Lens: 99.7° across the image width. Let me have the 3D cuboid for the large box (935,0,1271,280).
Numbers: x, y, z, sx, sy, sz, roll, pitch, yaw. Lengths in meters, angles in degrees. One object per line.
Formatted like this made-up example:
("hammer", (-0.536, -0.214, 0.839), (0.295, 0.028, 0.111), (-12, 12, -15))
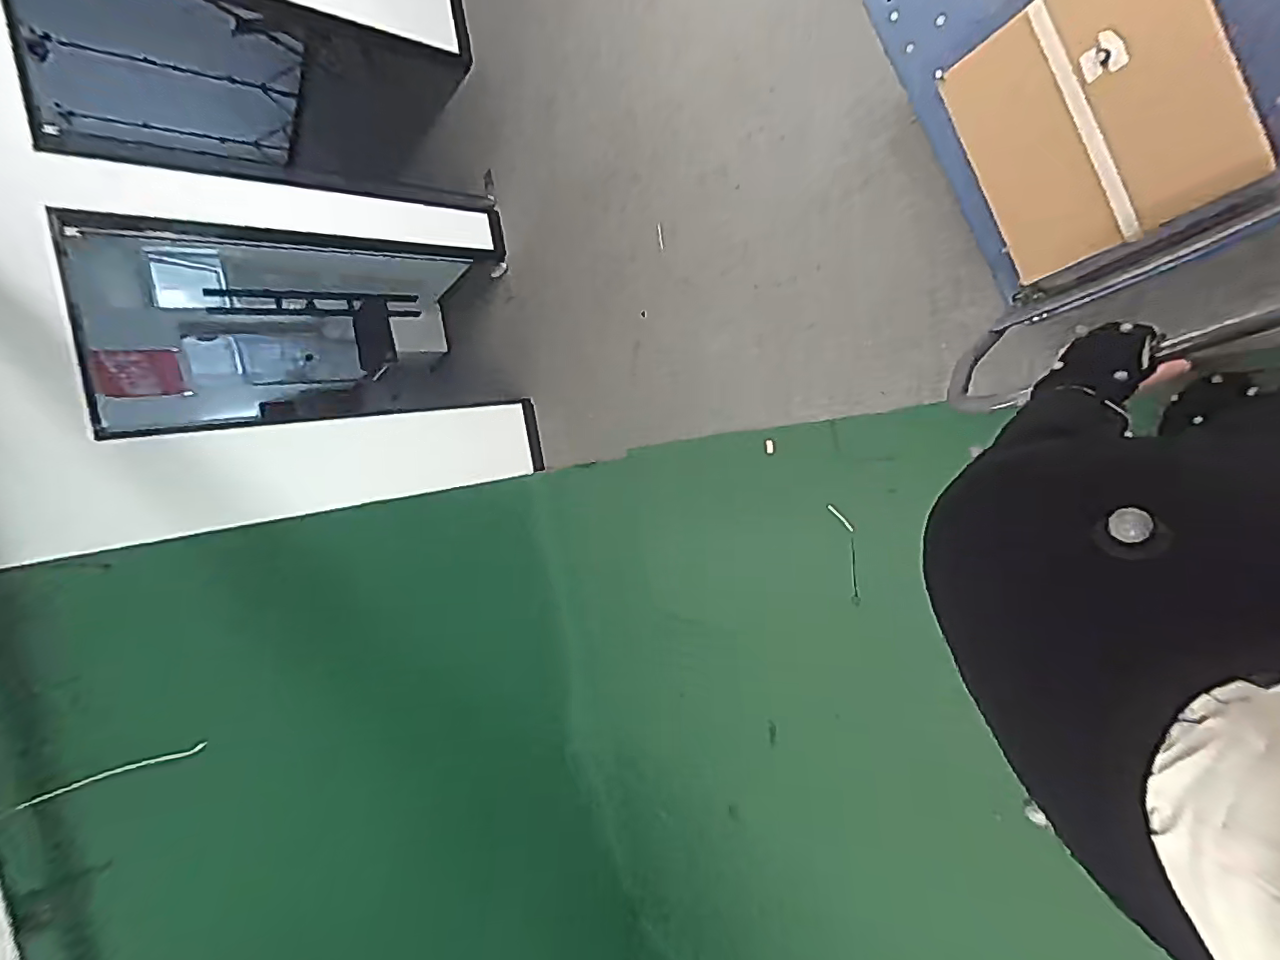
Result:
("large box", (0.812, -0.632, 0.958), (0.320, 0.320, 0.408), (-23, 93, 51))
